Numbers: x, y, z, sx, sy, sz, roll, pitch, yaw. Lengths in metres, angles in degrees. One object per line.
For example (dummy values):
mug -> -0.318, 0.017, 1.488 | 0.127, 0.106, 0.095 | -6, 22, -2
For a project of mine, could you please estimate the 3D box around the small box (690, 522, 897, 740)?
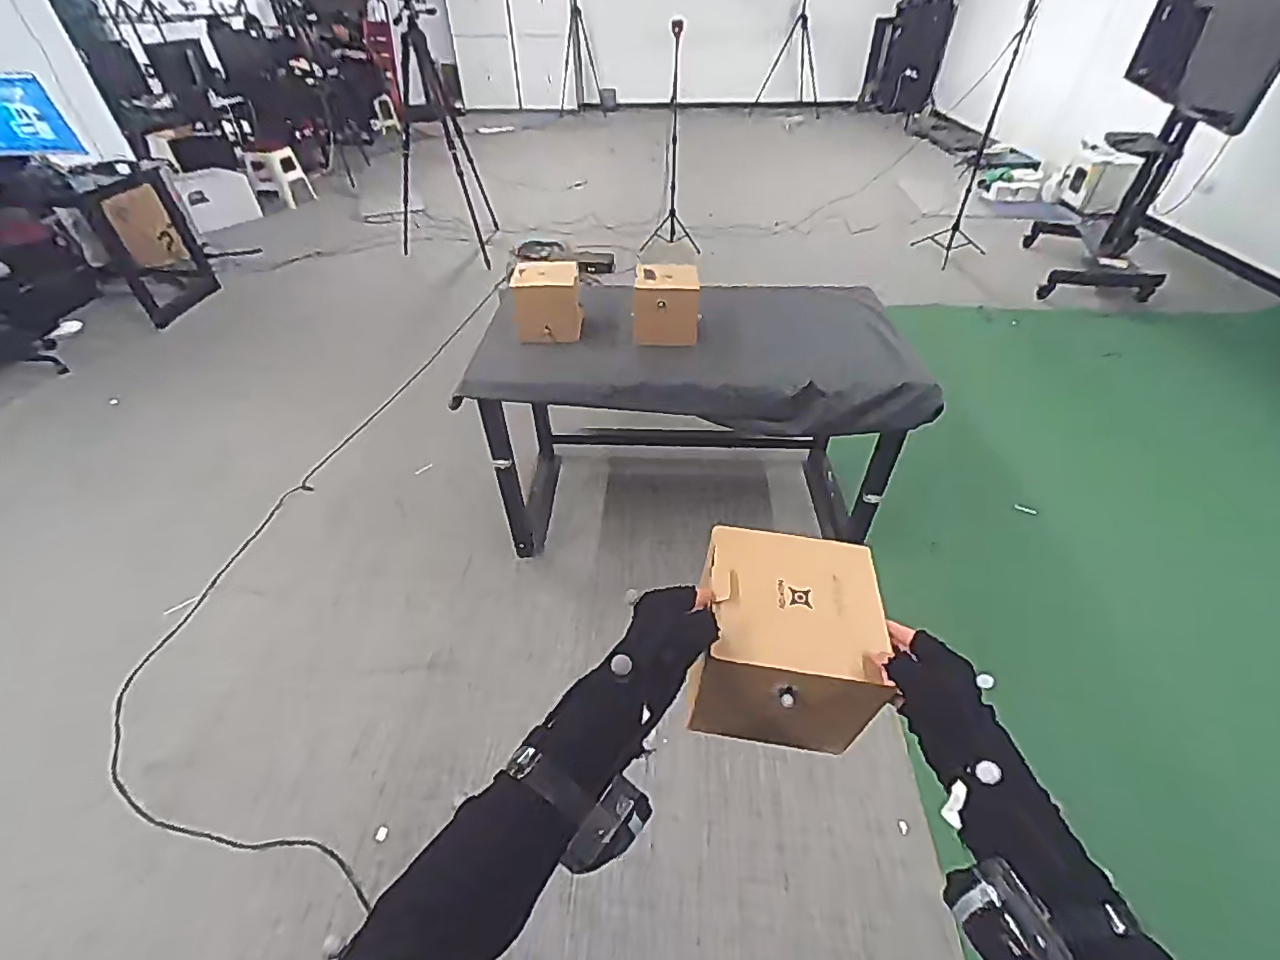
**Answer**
small box -> 0.155, 0.172, 0.610 | 0.179, 0.176, 0.168 | 9, 45, 1

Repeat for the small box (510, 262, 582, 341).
small box -> -0.260, -0.509, 1.549 | 0.179, 0.176, 0.168 | 0, 42, -1

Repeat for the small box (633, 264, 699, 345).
small box -> 0.073, -0.495, 1.529 | 0.179, 0.176, 0.168 | 1, 43, 1
